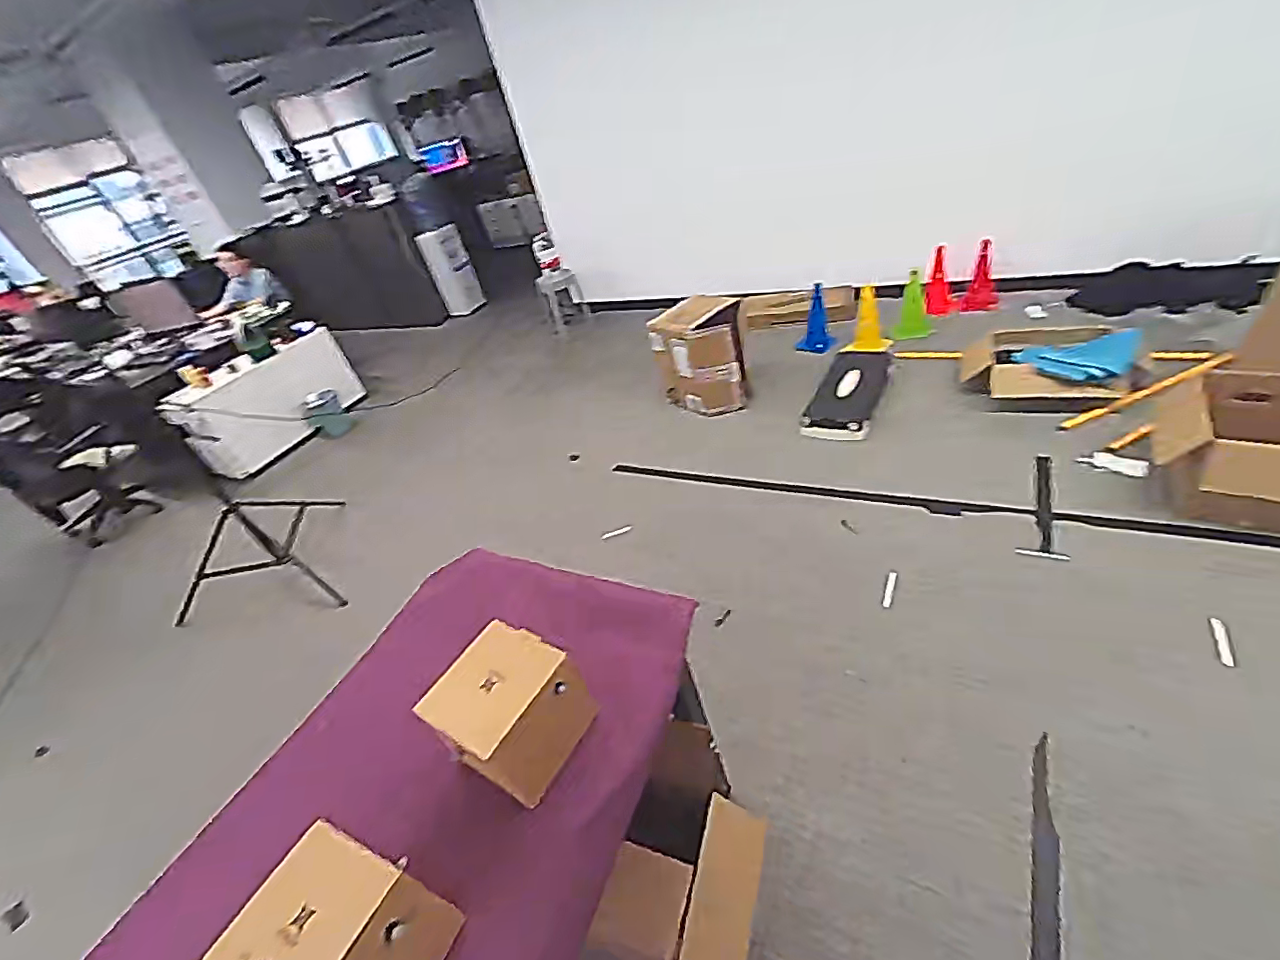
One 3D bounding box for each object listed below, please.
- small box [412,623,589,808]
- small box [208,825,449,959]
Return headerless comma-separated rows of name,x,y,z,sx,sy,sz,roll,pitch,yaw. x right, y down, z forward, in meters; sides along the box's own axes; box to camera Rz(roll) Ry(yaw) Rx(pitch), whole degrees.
small box,-0.202,0.361,0.834,0.168,0.176,0.179,11,44,33
small box,-0.355,0.558,0.636,0.168,0.176,0.179,4,41,29
